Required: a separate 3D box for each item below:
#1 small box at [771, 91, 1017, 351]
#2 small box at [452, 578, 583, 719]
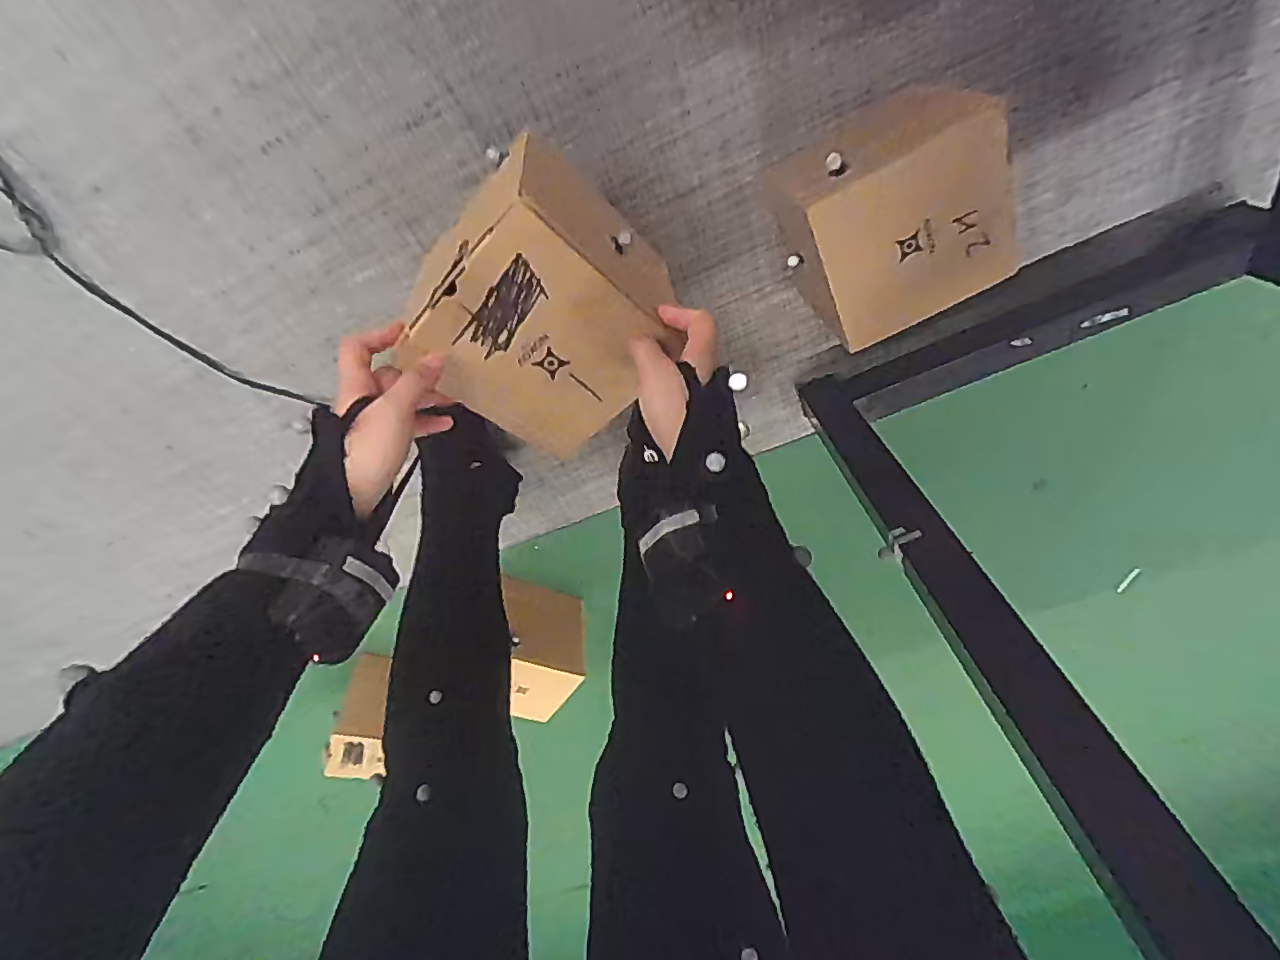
[{"bbox_3d":[0.252,-0.273,0.570,0.179,0.176,0.168,-26,127,14],"label":"small box"},{"bbox_3d":[-0.215,0.304,0.984,0.179,0.176,0.168,23,123,-22],"label":"small box"}]
